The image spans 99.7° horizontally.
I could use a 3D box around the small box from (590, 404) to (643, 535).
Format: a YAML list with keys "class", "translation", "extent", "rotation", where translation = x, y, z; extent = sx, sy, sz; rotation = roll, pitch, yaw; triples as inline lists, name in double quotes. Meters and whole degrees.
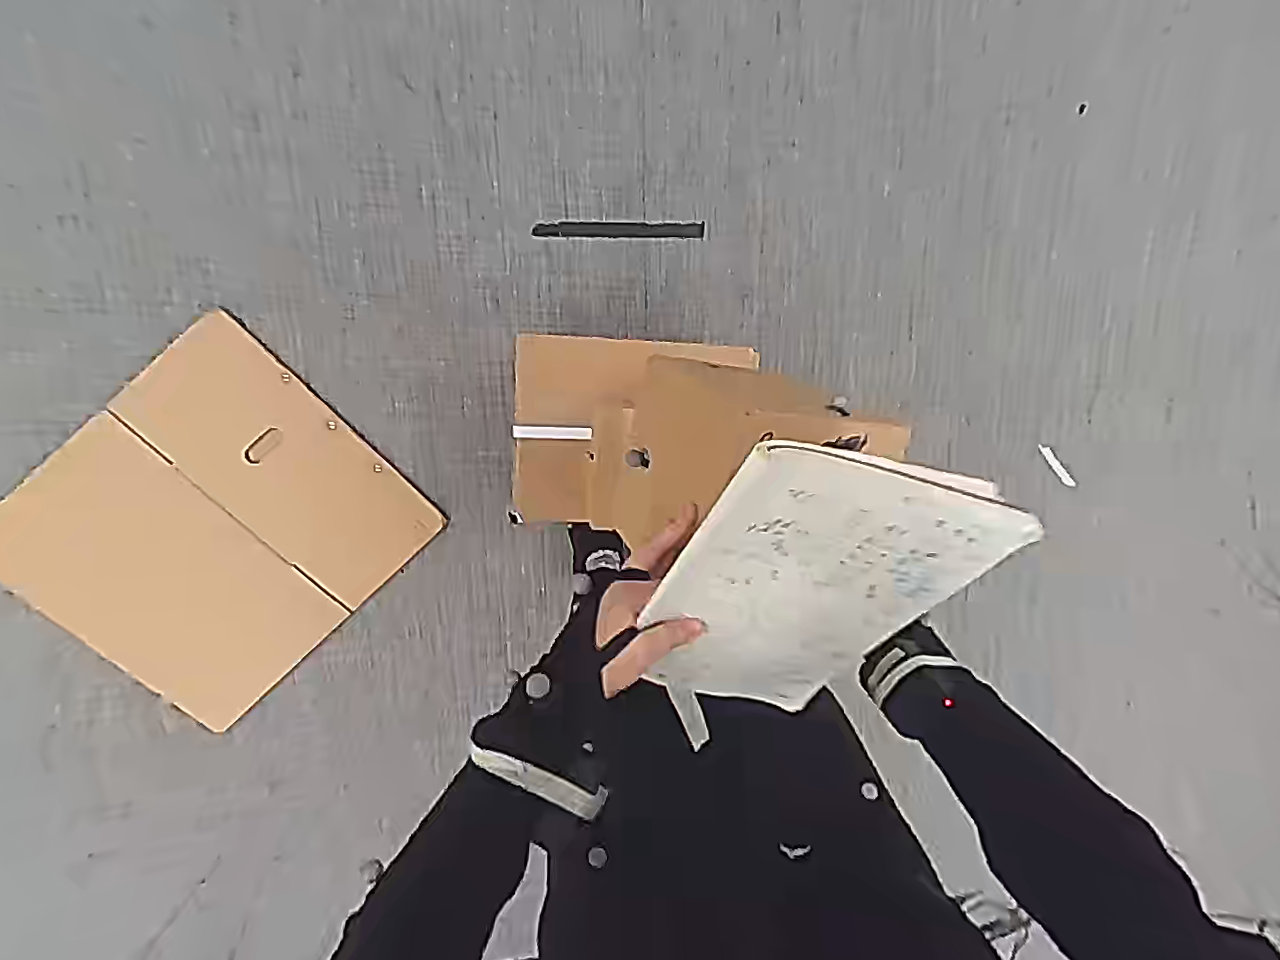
- class: "small box"
  translation: [0.013, -0.020, 0.835]
  extent: [0.168, 0.176, 0.179]
  rotation: [4, 100, -9]

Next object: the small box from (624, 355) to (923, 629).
- class: "small box"
  translation: [0.097, 0.002, 0.478]
  extent: [0.168, 0.176, 0.179]
  rotation: [0, 115, -27]
